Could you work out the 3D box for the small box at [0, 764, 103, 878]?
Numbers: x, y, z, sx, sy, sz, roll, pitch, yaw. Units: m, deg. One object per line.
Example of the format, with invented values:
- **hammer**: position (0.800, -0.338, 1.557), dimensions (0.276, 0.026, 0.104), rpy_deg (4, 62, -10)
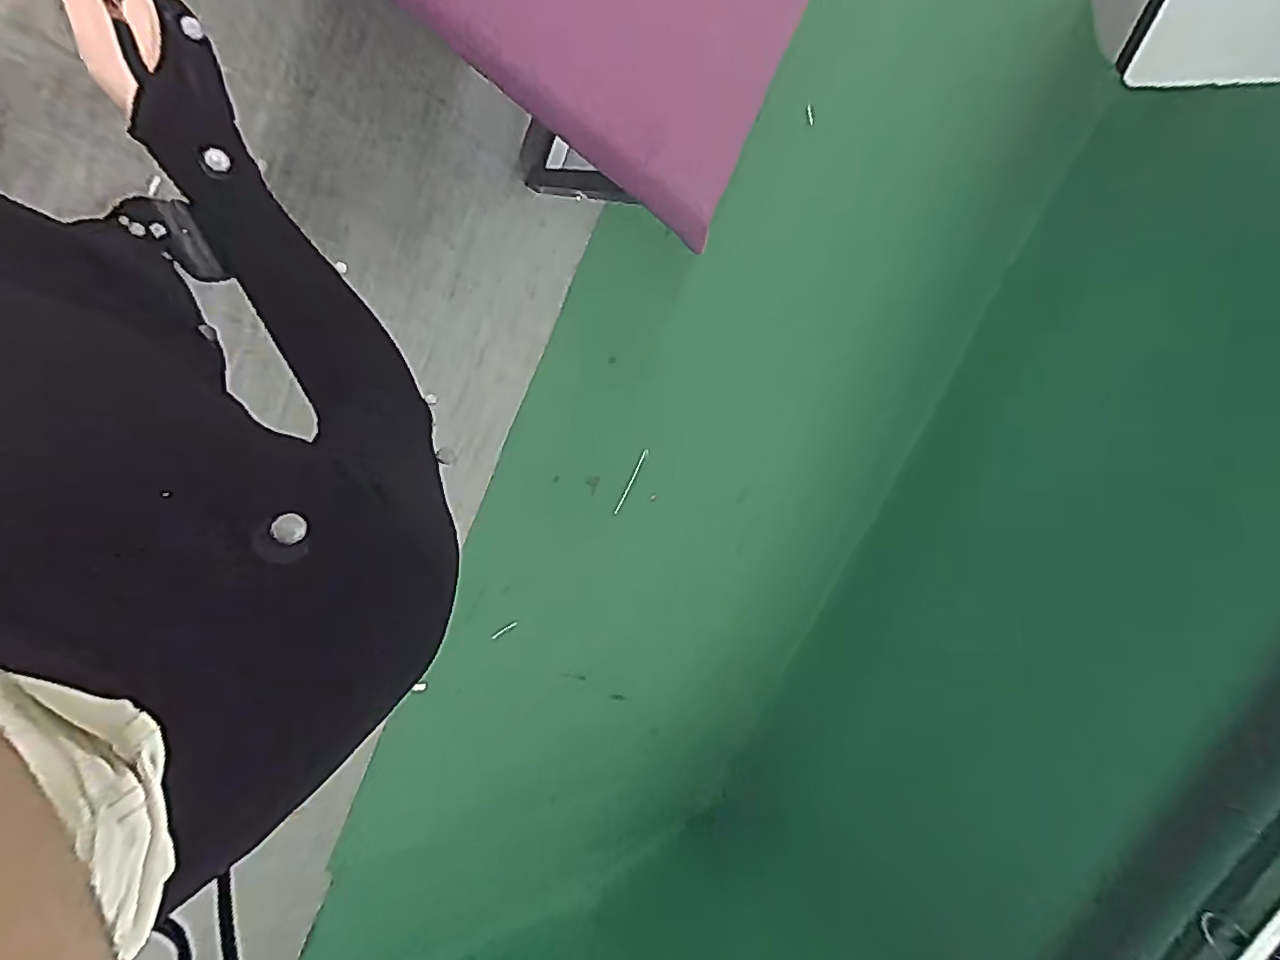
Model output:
- **small box**: position (-1.540, 0.878, 1.406), dimensions (0.179, 0.176, 0.168), rpy_deg (15, 105, -47)
